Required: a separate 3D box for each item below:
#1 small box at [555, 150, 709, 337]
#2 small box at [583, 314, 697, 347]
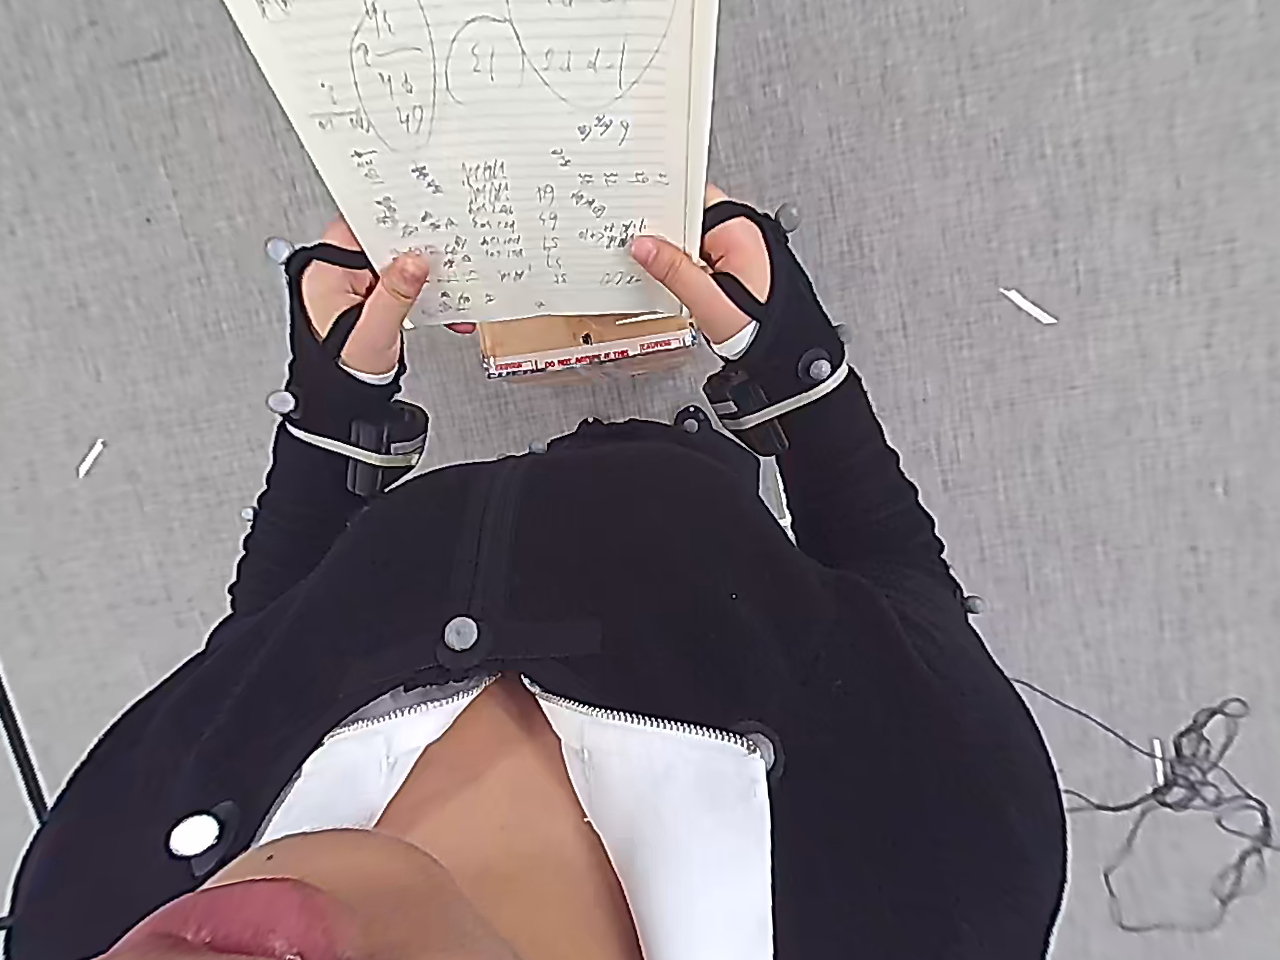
[{"bbox_3d":[-0.010,-0.301,0.724,0.168,0.176,0.179,-9,99,1],"label":"small box"},{"bbox_3d":[-0.014,-0.323,0.888,0.179,0.176,0.168,-13,97,2],"label":"small box"}]
